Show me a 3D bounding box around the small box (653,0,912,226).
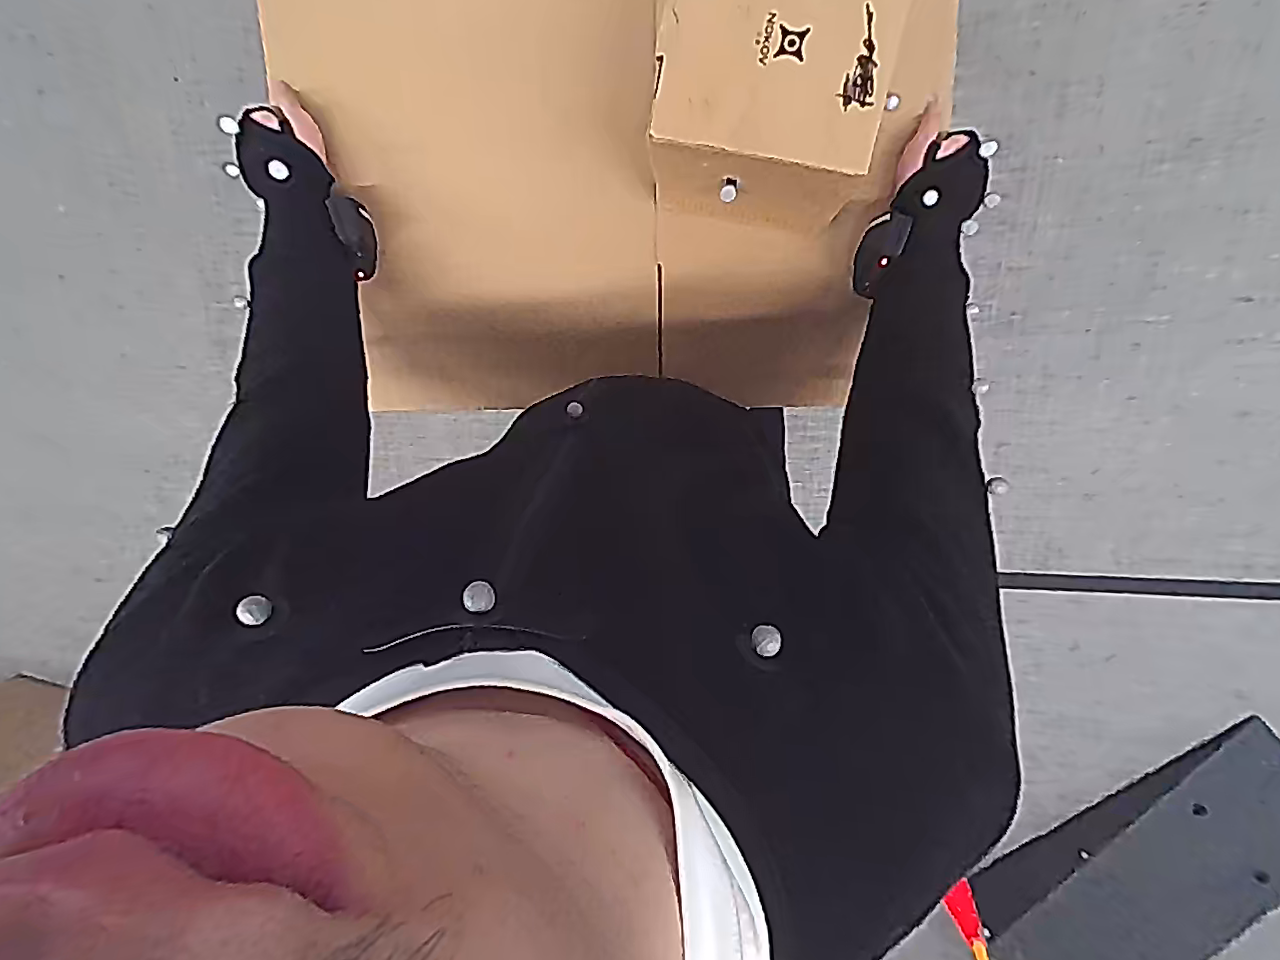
[{"bbox_3d":[0.120,-0.351,0.492,0.179,0.176,0.168,13,100,5],"label":"small box"}]
